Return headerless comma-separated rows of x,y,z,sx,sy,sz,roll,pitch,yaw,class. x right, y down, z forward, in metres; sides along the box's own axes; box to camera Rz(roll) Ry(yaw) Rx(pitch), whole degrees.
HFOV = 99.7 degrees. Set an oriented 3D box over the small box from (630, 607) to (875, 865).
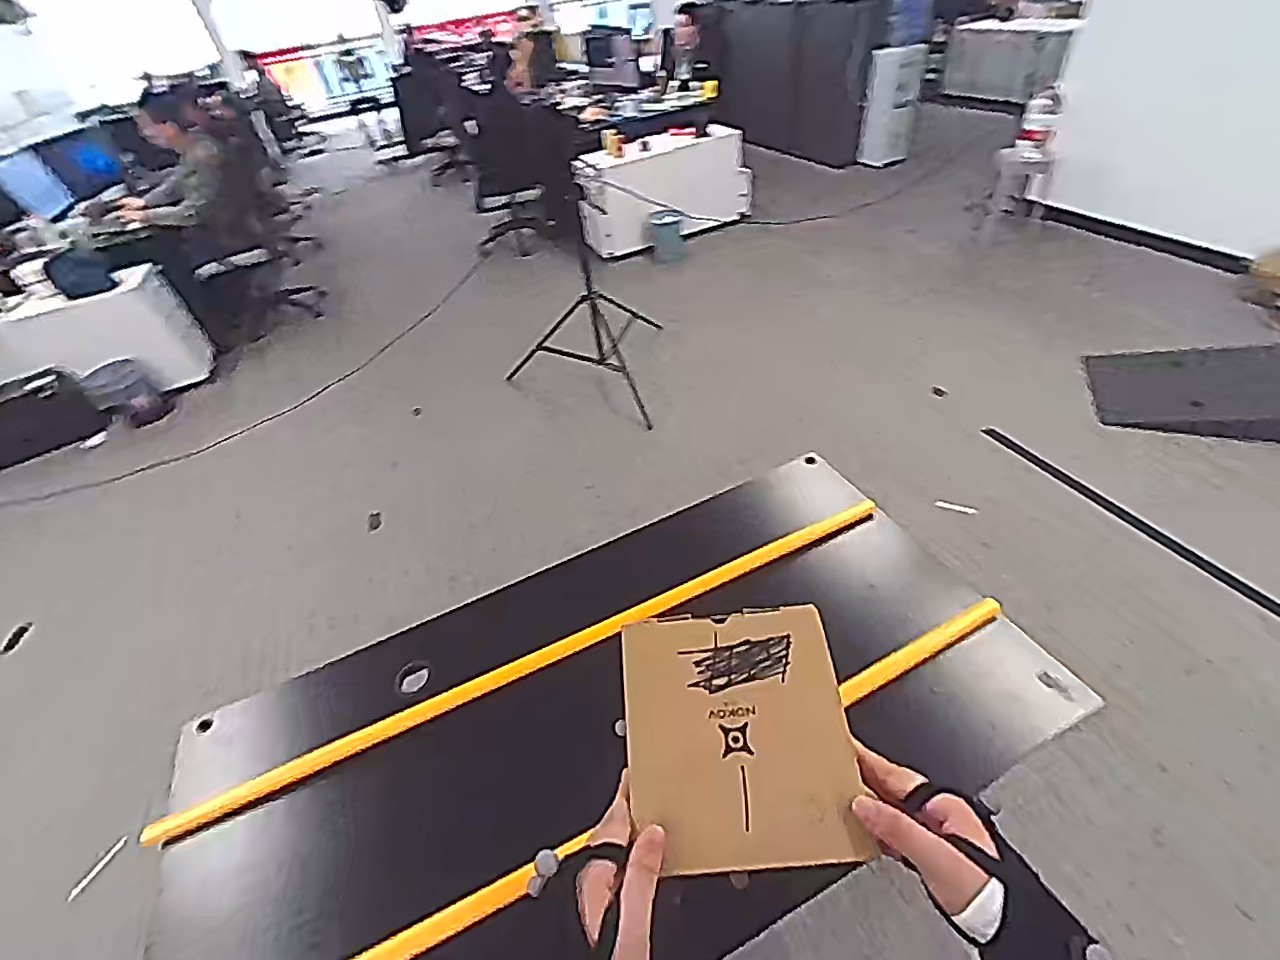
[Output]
0.079,0.227,0.474,0.168,0.176,0.179,-4,57,3,small box
